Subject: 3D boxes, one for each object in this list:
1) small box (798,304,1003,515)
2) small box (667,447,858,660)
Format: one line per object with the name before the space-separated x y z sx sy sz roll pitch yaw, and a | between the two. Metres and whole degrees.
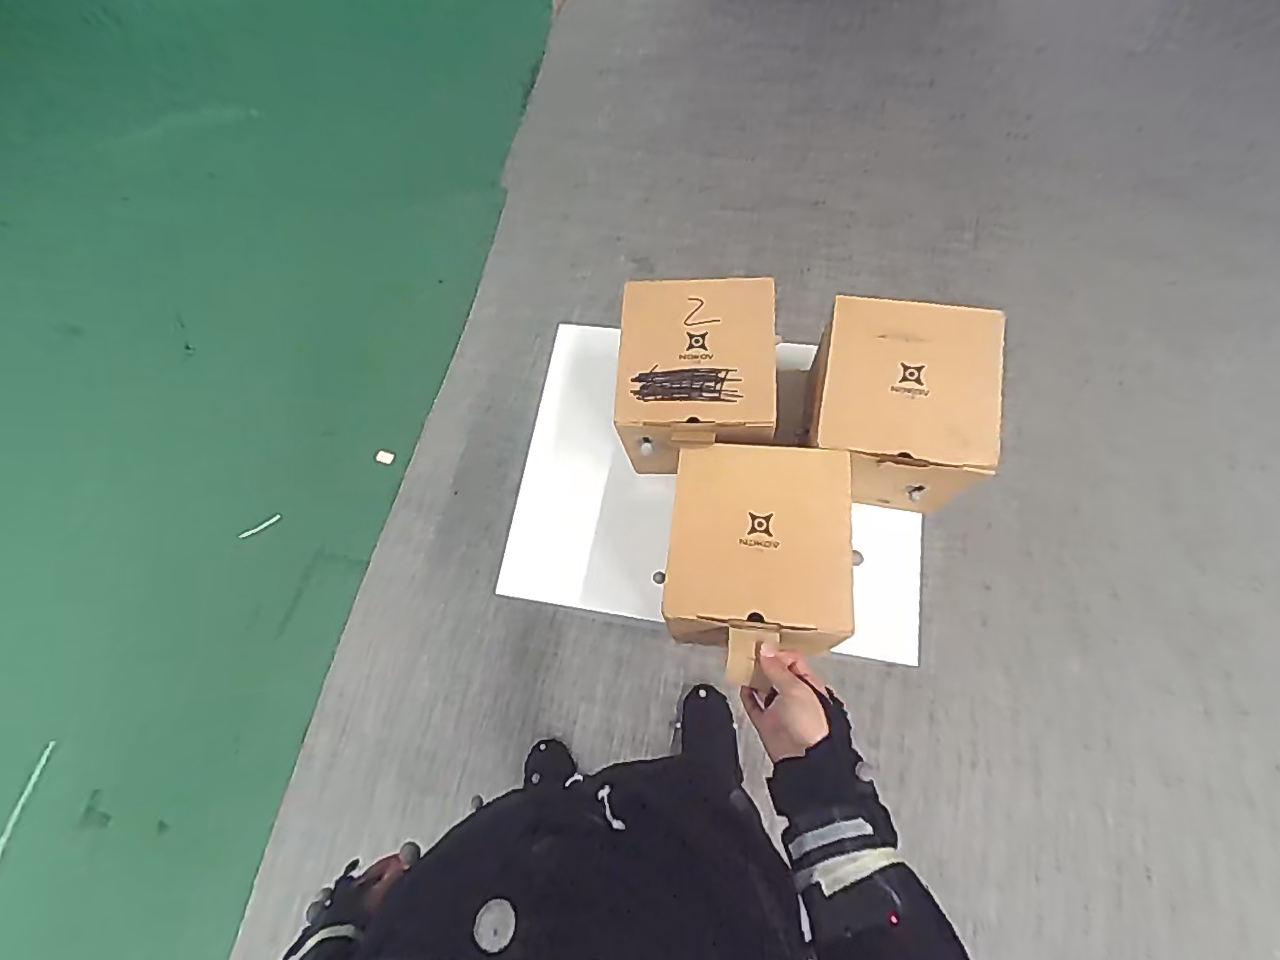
small box | 0.278 -0.069 0.608 0.168 0.176 0.179 9 73 9
small box | 0.123 0.083 0.572 0.168 0.176 0.179 4 67 9
